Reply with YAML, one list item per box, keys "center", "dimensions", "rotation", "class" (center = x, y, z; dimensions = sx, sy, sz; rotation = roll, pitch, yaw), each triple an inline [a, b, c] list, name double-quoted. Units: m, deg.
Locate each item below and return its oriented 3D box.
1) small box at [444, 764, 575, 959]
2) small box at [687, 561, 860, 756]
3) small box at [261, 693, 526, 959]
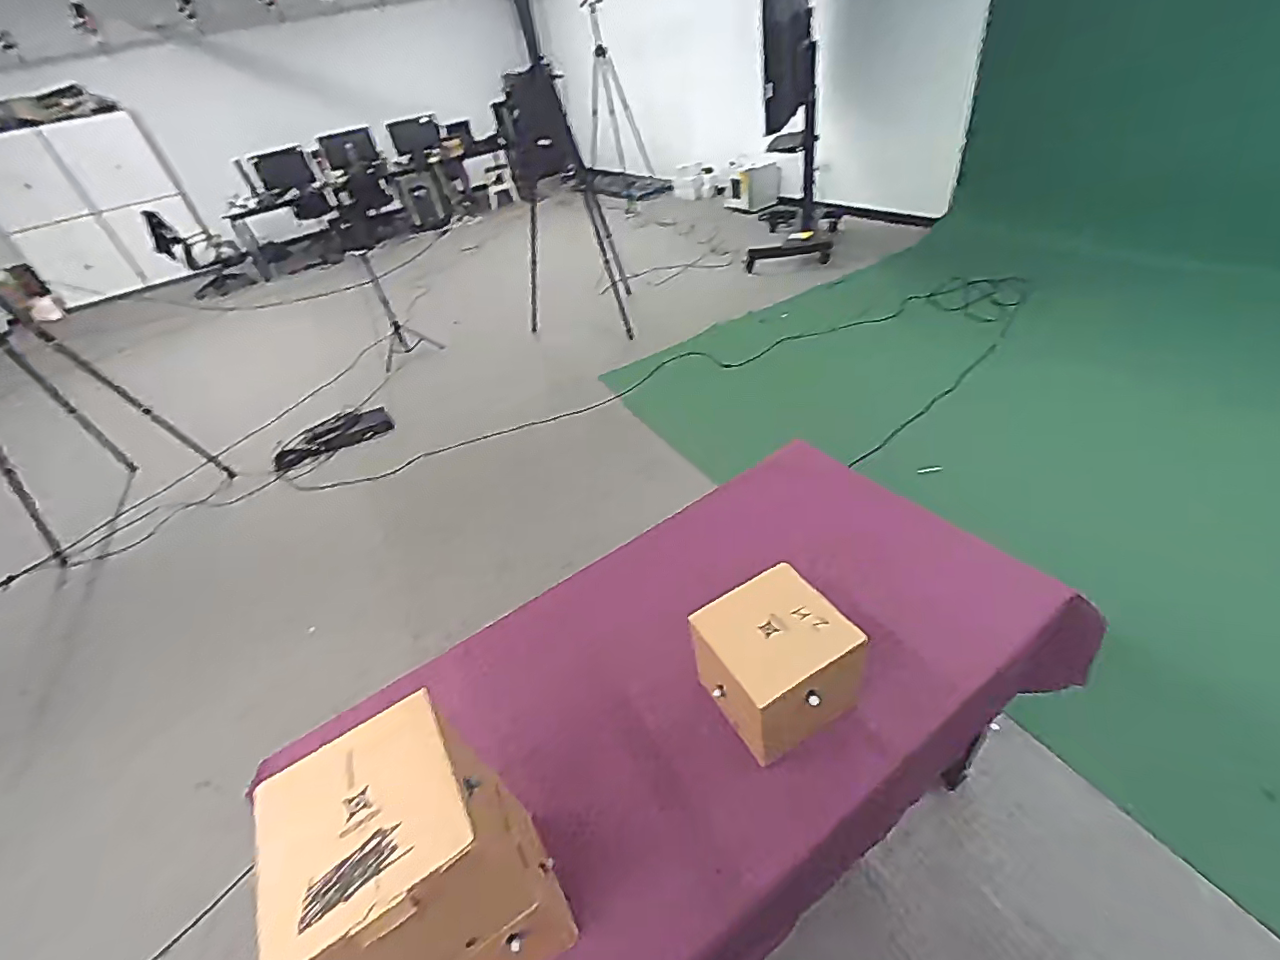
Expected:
- center: [-0.200, 0.484, 0.627]
  dimensions: [0.179, 0.176, 0.168]
  rotation: [-28, 41, -19]
  class: "small box"
- center: [0.192, 0.259, 0.783]
  dimensions: [0.179, 0.176, 0.168]
  rotation: [-26, 41, -15]
  class: "small box"
- center: [-0.233, 0.357, 0.528]
  dimensions: [0.168, 0.176, 0.179]
  rotation: [-29, 40, -19]
  class: "small box"
